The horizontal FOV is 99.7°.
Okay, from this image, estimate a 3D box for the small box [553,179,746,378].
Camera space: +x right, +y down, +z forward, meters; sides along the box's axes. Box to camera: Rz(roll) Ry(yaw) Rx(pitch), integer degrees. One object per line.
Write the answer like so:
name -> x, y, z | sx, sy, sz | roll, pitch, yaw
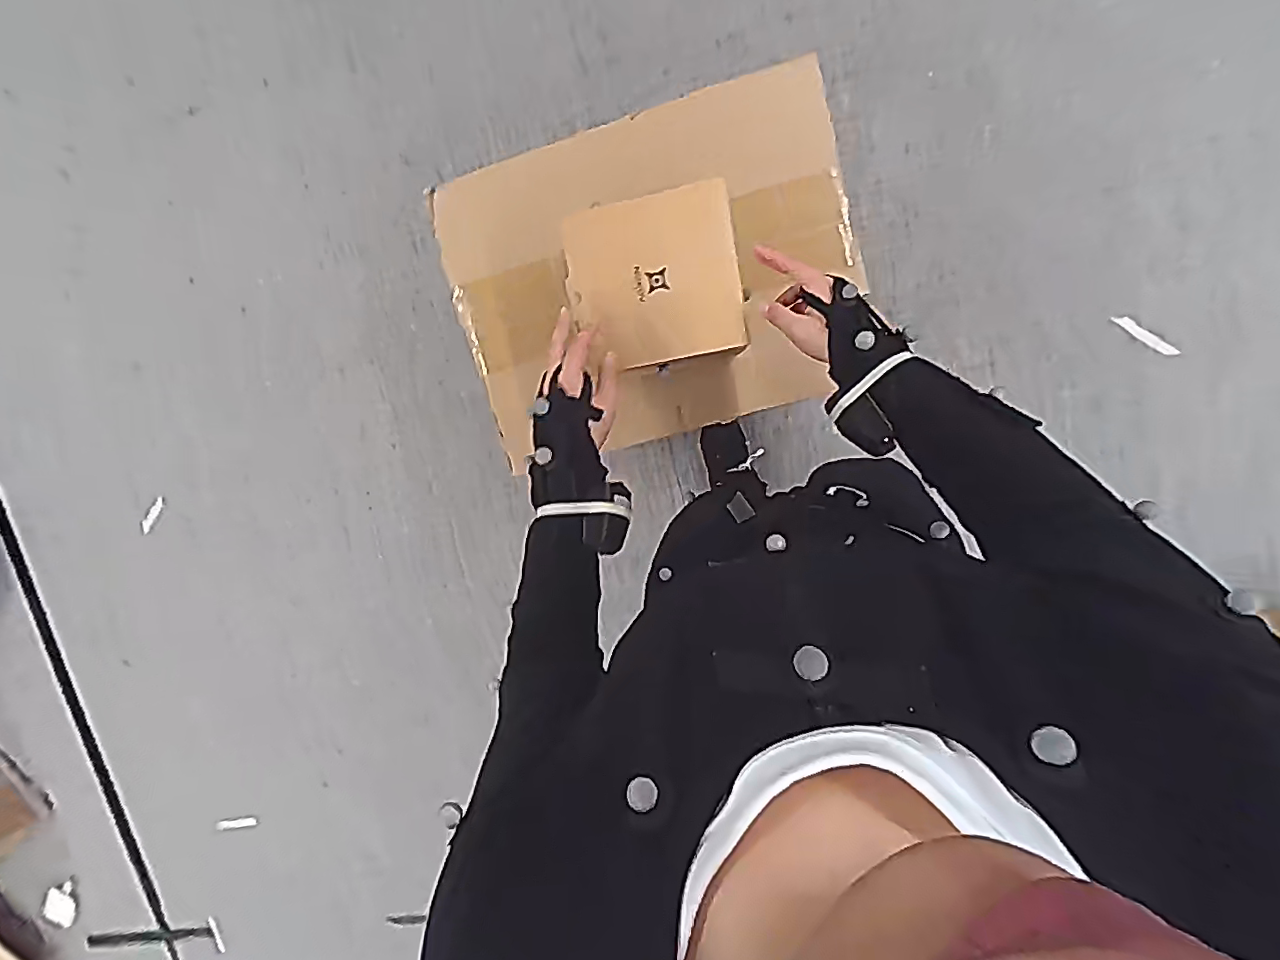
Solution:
small box -> 0.018, -0.217, 0.628 | 0.179, 0.176, 0.168 | -10, 98, 9
